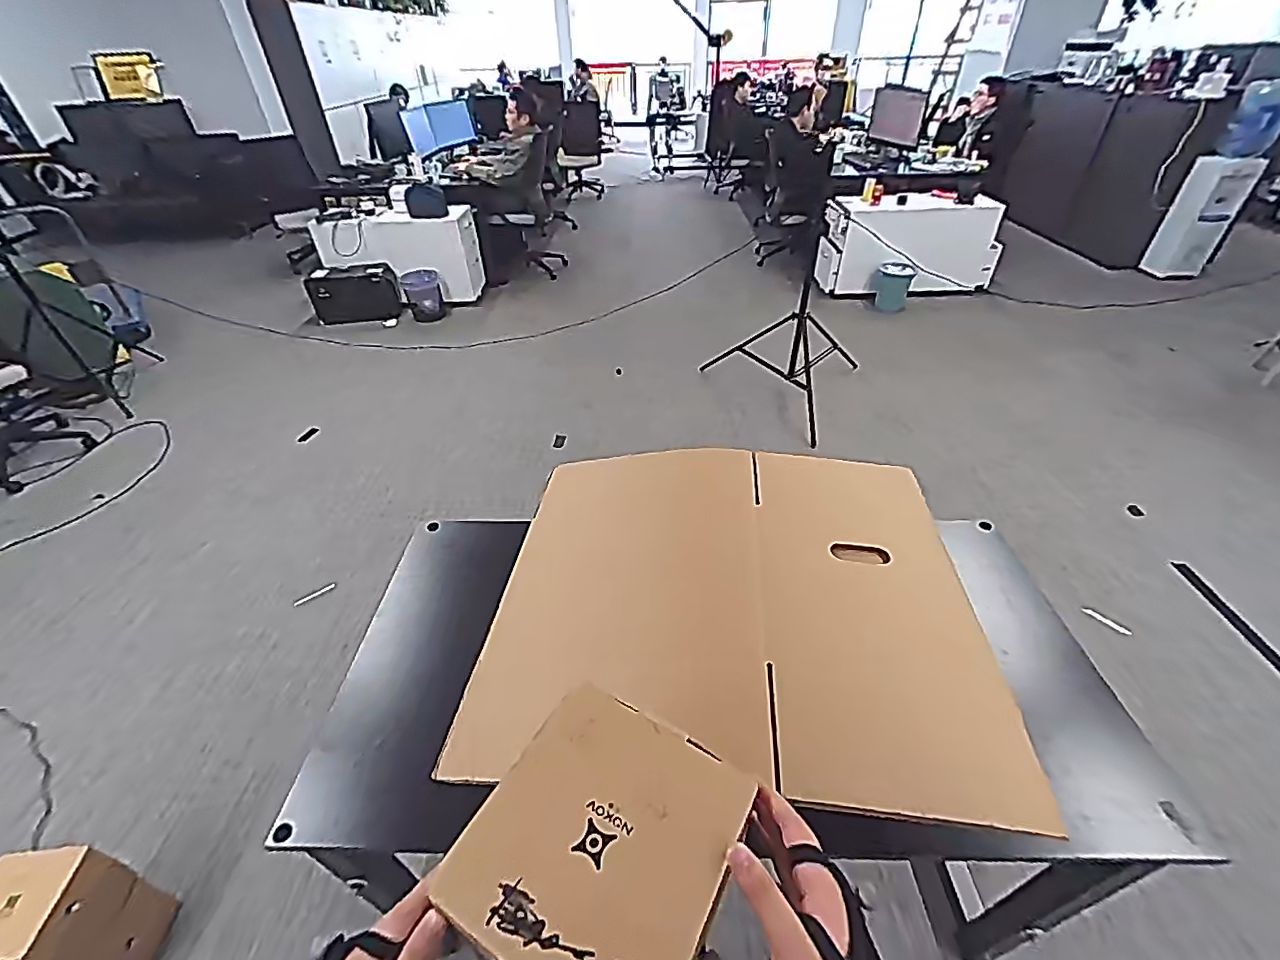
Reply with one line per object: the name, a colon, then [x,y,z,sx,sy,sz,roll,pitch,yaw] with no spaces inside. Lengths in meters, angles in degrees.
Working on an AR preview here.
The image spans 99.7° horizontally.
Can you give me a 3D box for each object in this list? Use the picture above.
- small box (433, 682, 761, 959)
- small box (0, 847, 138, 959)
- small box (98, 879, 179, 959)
small box: [-0.023,0.304,0.420,0.168,0.176,0.179,19,41,25]
small box: [-1.137,0.842,1.039,0.168,0.176,0.179,-4,38,-4]
small box: [-1.131,0.972,1.136,0.168,0.176,0.179,-3,40,-1]
